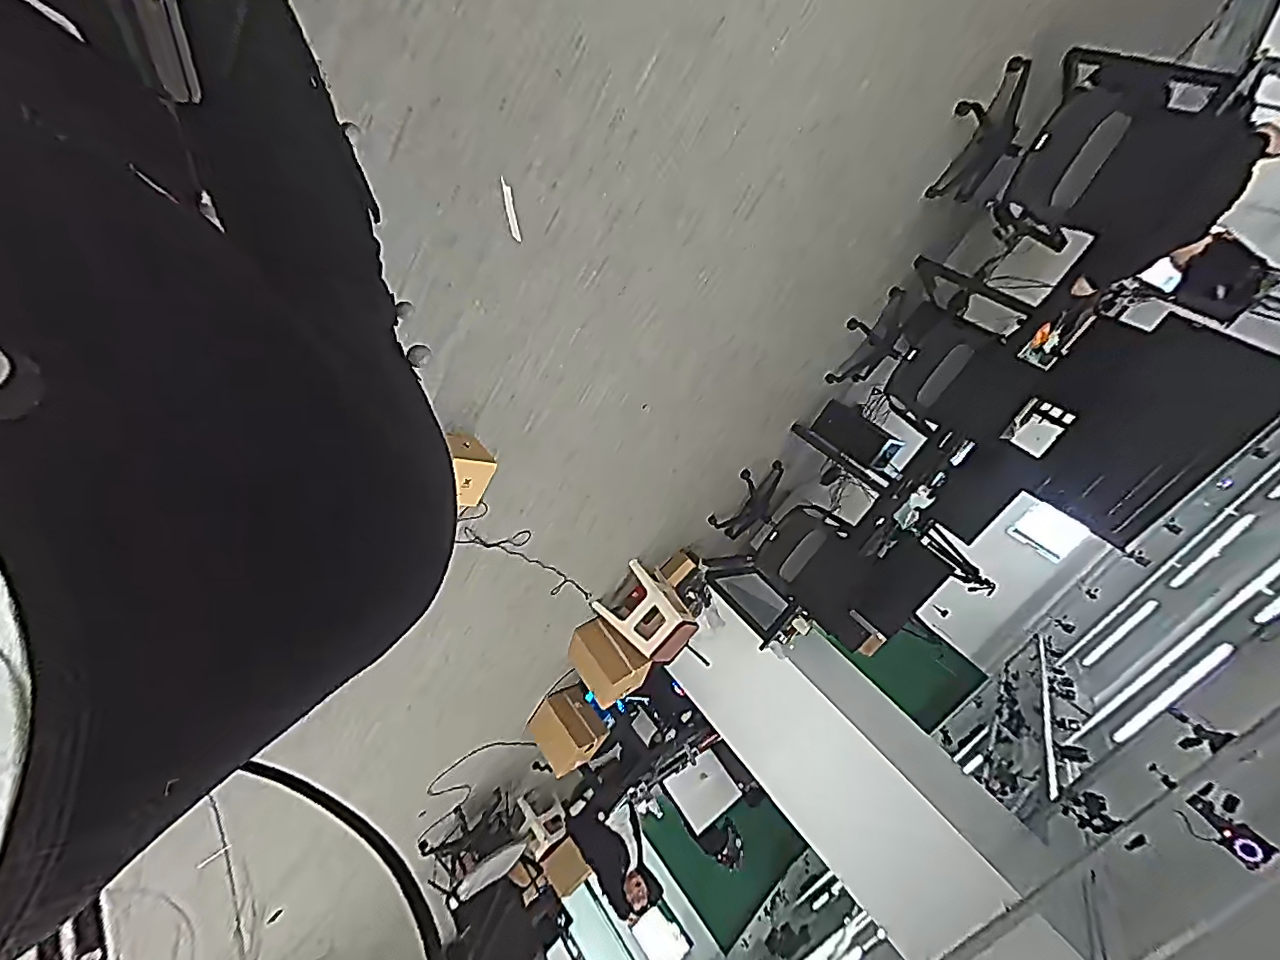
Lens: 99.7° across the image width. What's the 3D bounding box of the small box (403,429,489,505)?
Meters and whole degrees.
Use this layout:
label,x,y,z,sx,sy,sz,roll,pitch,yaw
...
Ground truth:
label,x,y,z,sx,sy,sz,roll,pitch,yaw
small box,-0.618,-0.041,1.707,0.168,0.176,0.179,9,119,-54
